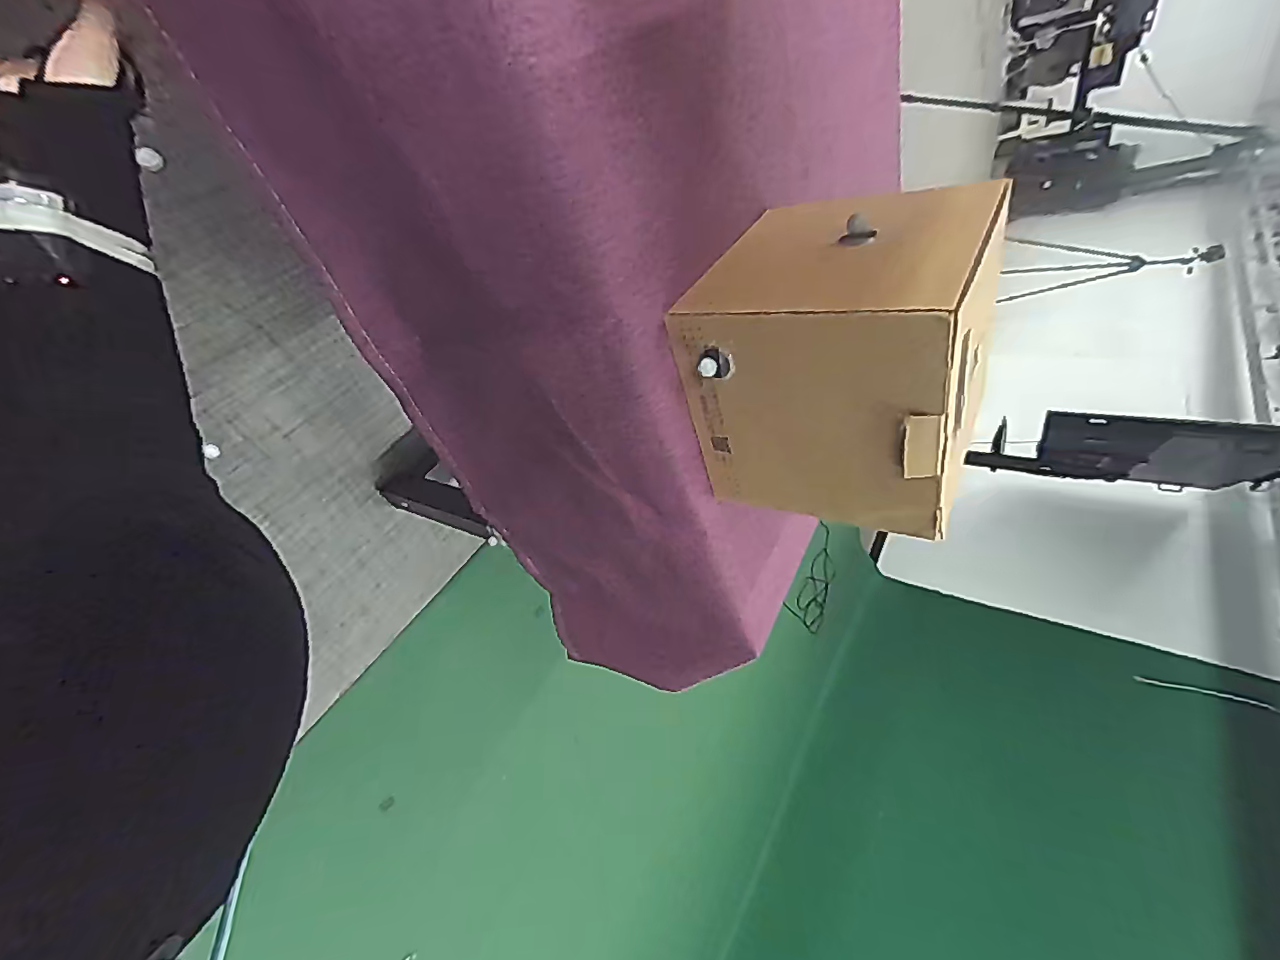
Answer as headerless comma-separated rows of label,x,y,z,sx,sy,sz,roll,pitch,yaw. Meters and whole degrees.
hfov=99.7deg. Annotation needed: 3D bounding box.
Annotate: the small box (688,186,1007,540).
small box,0.148,-0.087,0.395,0.179,0.176,0.168,-52,137,-33
